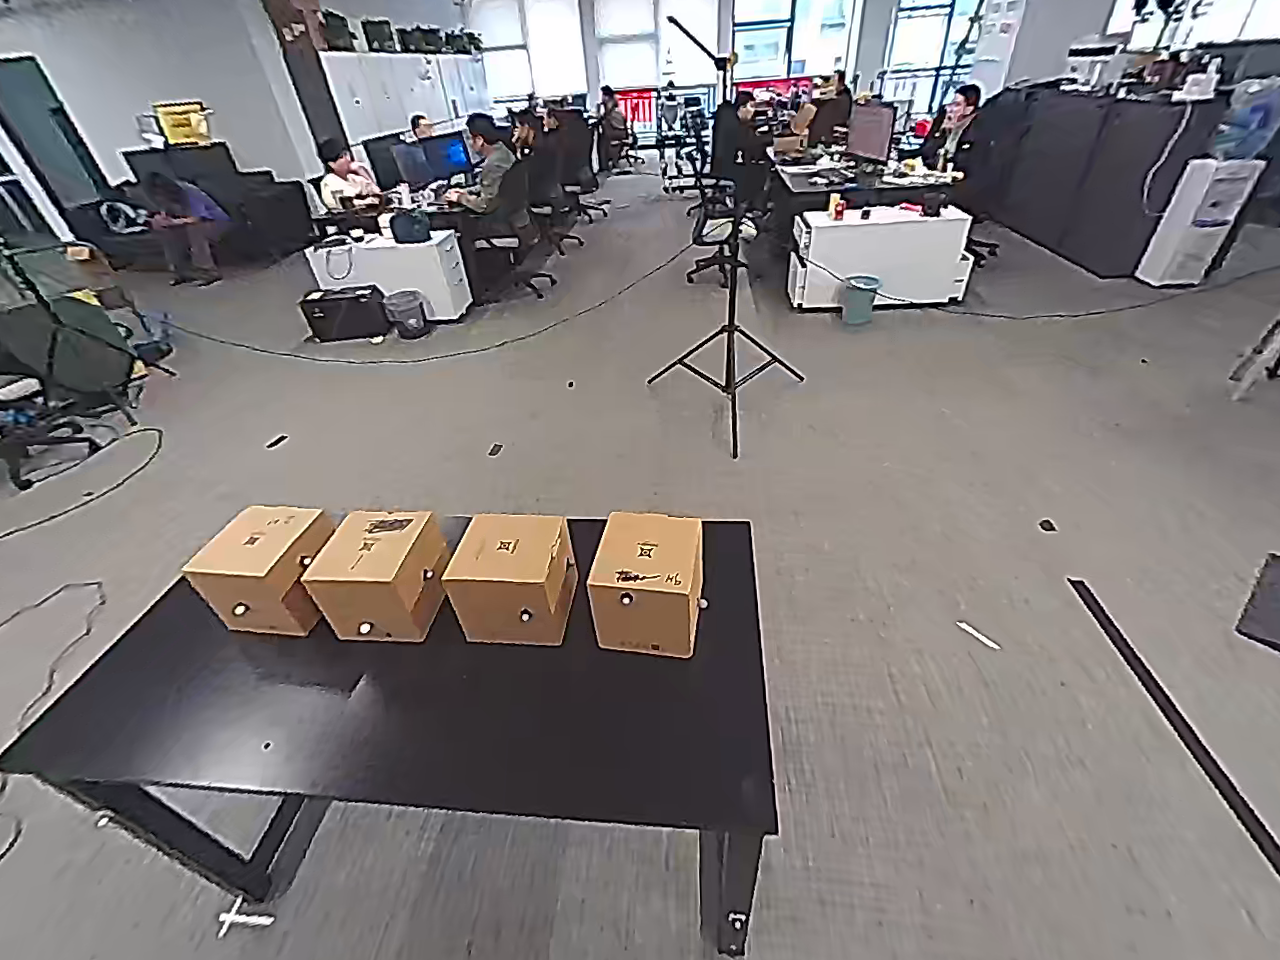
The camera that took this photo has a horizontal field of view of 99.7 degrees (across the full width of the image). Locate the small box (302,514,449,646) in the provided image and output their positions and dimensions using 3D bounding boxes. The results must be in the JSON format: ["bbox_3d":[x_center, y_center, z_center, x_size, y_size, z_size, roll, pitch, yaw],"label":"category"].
[{"bbox_3d":[-0.472,0.182,1.003,0.168,0.176,0.179,0,39,5],"label":"small box"}]

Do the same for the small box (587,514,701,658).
[{"bbox_3d":[0.015,0.182,0.948,0.168,0.176,0.179,3,37,11],"label":"small box"}]

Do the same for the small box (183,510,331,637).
[{"bbox_3d":[-0.694,0.179,1.034,0.168,0.176,0.179,2,38,8],"label":"small box"}]

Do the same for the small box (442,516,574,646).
[{"bbox_3d":[-0.224,0.183,0.978,0.179,0.176,0.168,-1,36,7],"label":"small box"}]
